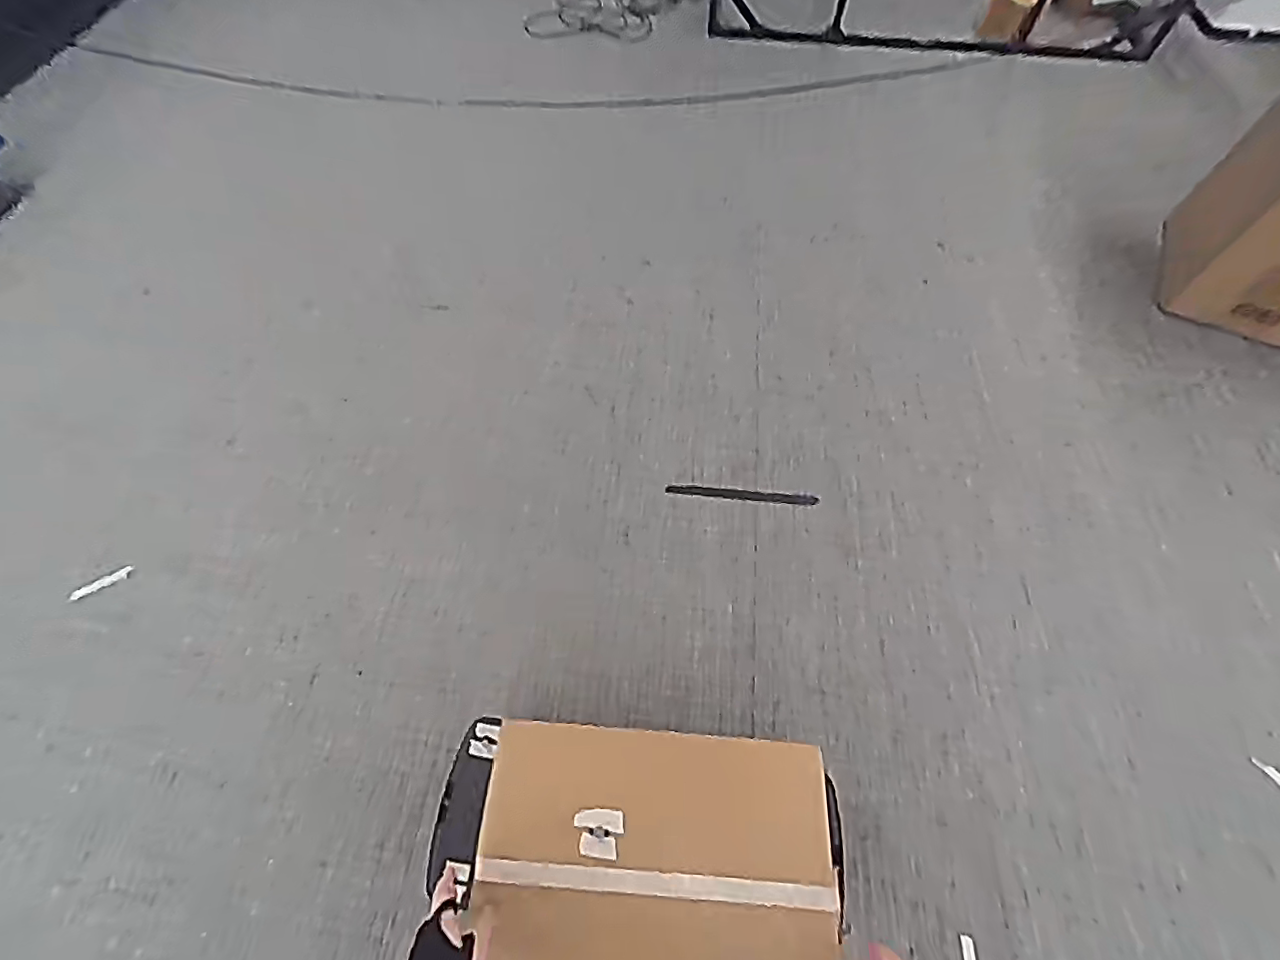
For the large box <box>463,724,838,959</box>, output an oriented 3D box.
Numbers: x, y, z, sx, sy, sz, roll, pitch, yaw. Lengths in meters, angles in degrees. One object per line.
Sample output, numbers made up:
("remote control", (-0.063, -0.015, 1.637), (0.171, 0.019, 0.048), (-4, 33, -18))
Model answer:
("large box", (0.019, 0.521, 0.731), (0.408, 0.320, 0.320), (3, 60, 3))
